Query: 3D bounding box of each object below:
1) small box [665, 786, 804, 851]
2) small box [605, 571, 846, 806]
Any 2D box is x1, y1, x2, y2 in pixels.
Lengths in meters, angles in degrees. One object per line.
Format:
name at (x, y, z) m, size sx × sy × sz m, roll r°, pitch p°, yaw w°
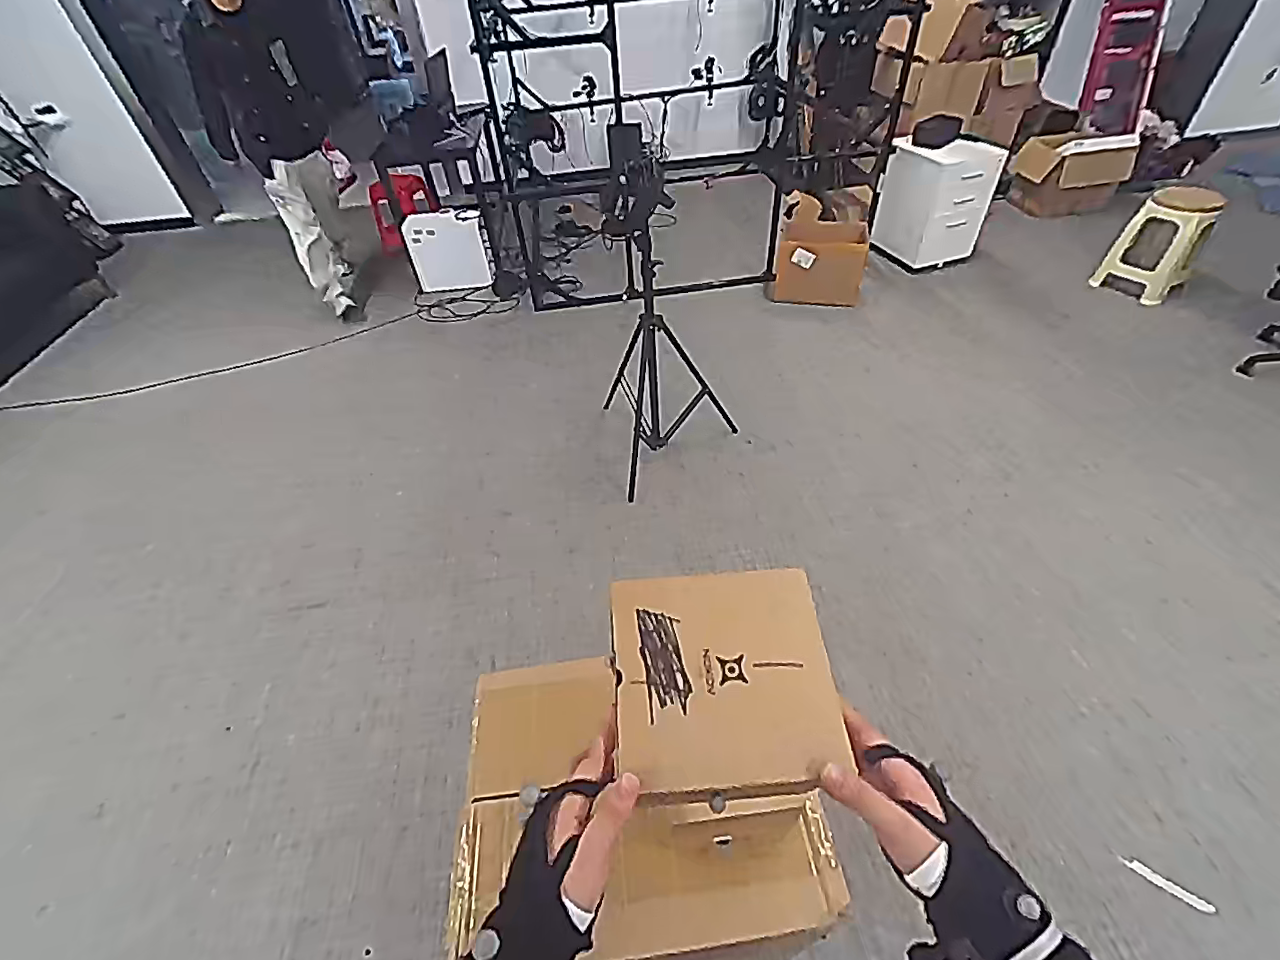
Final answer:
small box at (0.110, 0.385, 0.749) m, size 0.168 × 0.176 × 0.179 m, roll -9°, pitch 47°, yaw -1°
small box at (0.063, 0.199, 0.504) m, size 0.179 × 0.176 × 0.168 m, roll -4°, pitch 57°, yaw -2°
